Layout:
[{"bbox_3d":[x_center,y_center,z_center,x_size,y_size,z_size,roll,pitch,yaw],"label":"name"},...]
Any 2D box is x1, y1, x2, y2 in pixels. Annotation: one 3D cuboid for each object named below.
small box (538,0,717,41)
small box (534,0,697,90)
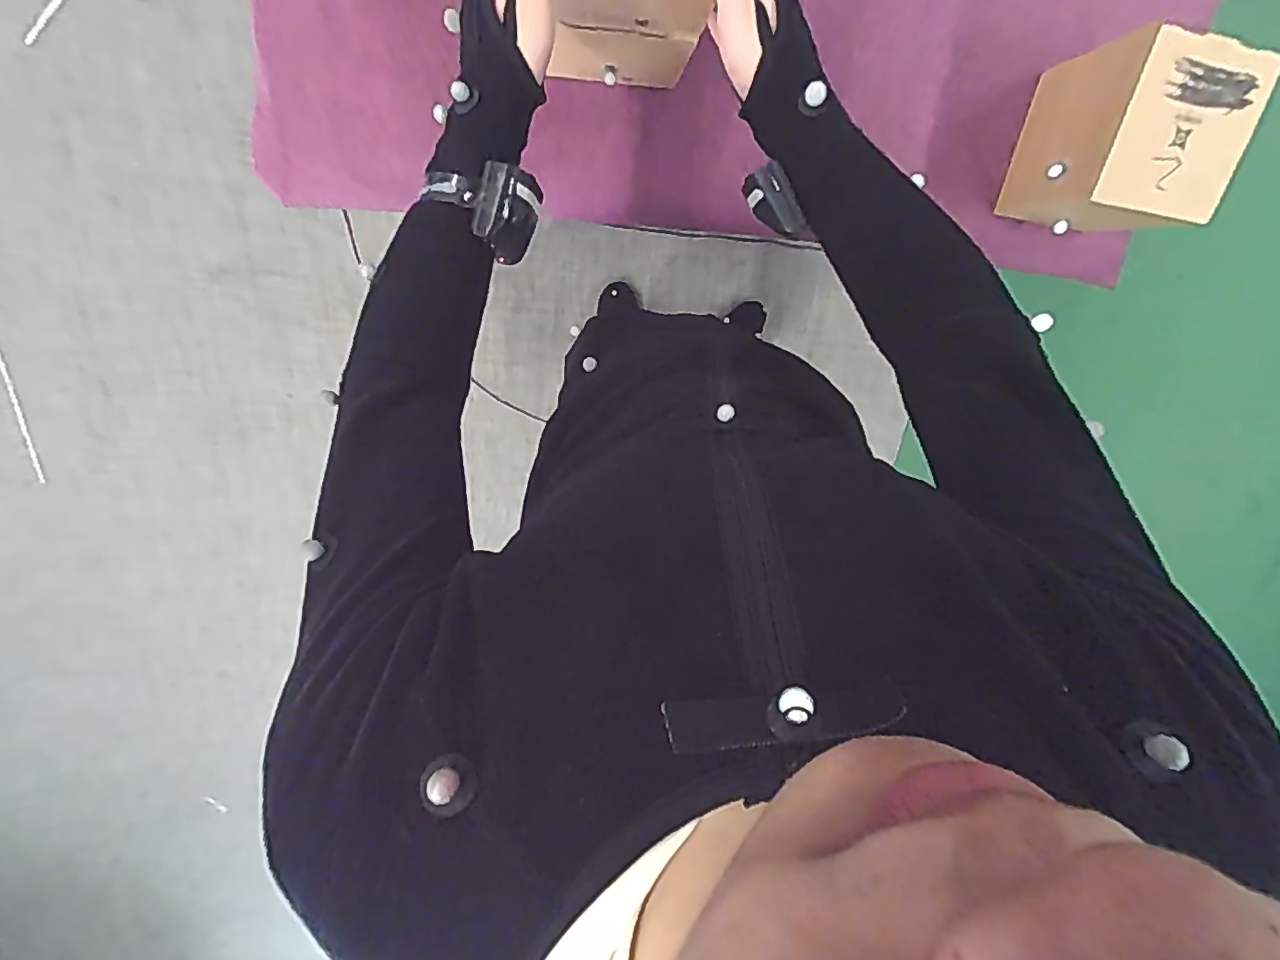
[{"bbox_3d":[-0.008,-0.490,0.425,0.168,0.176,0.179,1,113,-5],"label":"small box"},{"bbox_3d":[-0.024,-0.553,0.579,0.168,0.176,0.179,2,112,-6],"label":"small box"}]
